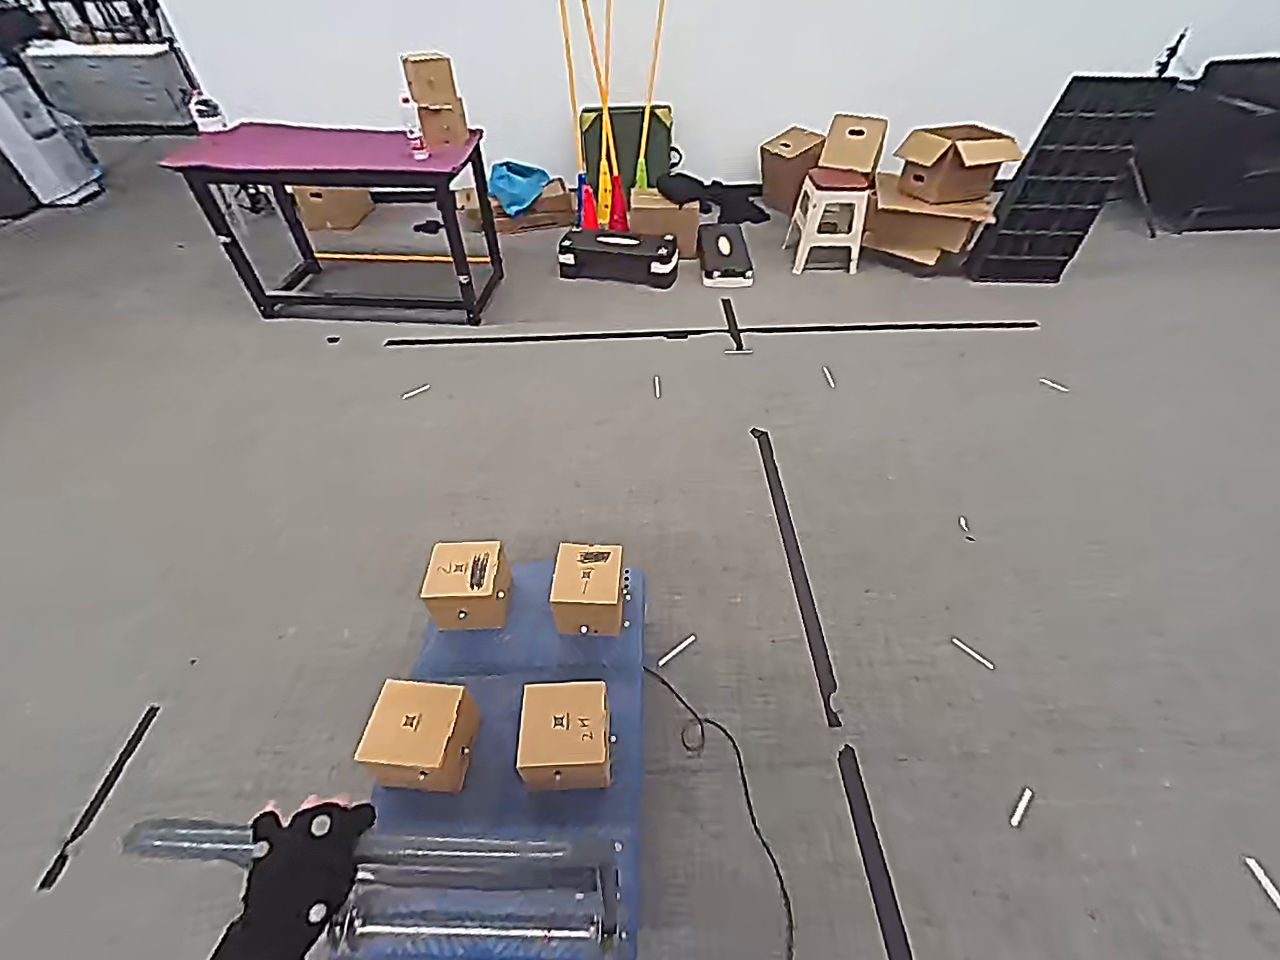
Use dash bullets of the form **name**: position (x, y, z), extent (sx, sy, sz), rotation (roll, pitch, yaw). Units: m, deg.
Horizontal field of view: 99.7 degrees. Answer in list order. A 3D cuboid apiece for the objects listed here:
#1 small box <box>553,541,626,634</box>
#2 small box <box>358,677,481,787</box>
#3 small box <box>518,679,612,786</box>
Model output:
- **small box**: position (-0.125, 0.281, 1.411), extent (0.168, 0.176, 0.179), rotation (2, 48, 3)
- **small box**: position (-0.461, 0.544, 1.163), extent (0.179, 0.176, 0.168), rotation (4, 46, 2)
- **small box**: position (-0.152, 0.544, 1.161), extent (0.179, 0.176, 0.168), rotation (-2, 47, -1)
